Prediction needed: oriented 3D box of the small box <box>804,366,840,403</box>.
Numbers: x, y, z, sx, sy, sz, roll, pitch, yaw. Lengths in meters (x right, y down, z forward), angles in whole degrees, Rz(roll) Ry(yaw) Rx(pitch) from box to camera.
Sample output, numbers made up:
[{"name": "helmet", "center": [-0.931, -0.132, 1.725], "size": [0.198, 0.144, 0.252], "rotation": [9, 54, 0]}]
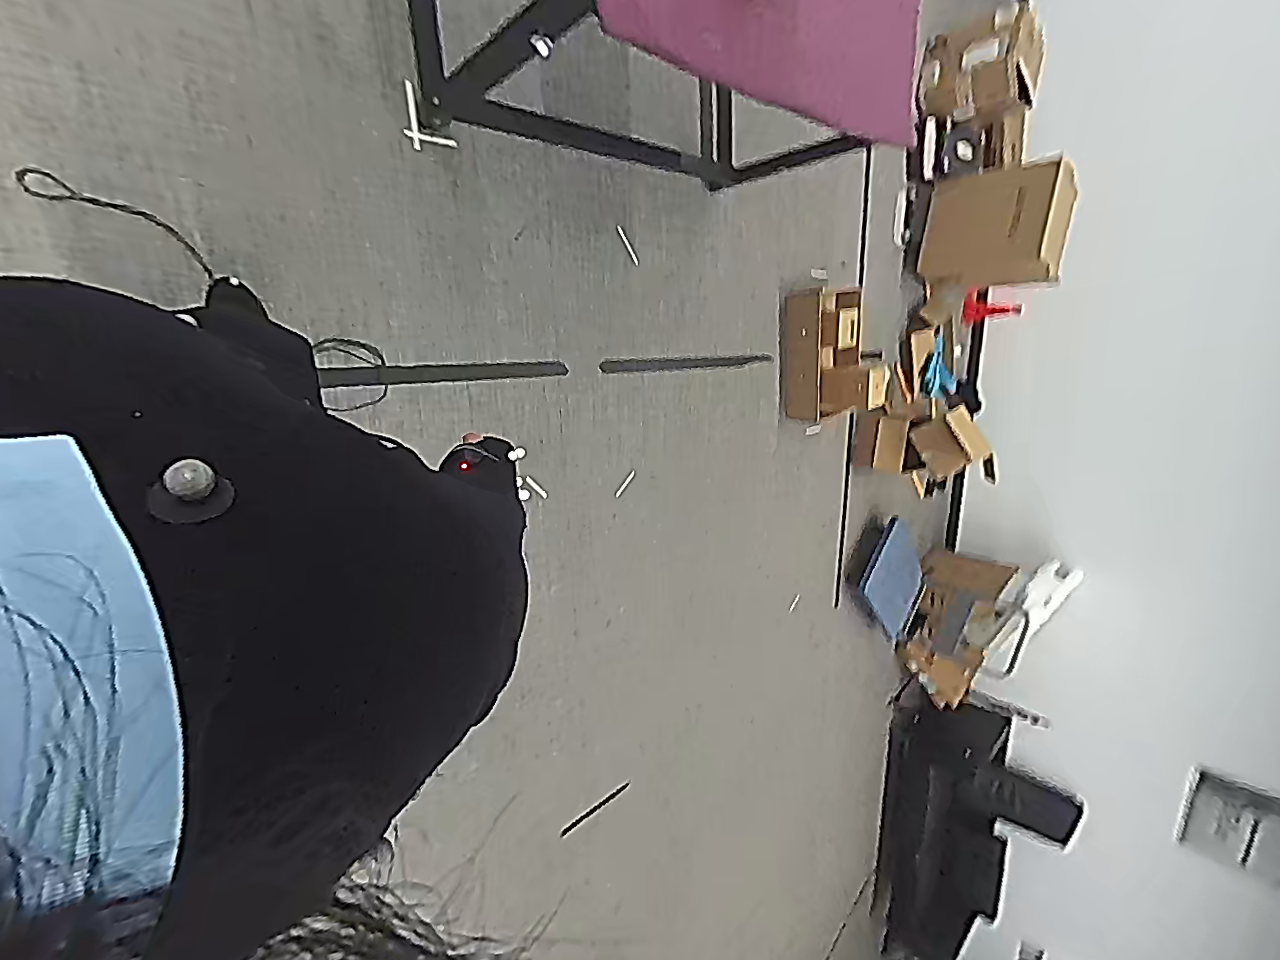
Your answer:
[{"name": "small box", "center": [0.938, -0.483, 2.711], "size": [0.179, 0.176, 0.168], "rotation": [-19, 113, -40]}]

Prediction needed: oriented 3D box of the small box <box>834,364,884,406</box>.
[{"name": "small box", "center": [1.046, -0.458, 2.592], "size": [0.168, 0.176, 0.179], "rotation": [-19, 111, -39]}]
